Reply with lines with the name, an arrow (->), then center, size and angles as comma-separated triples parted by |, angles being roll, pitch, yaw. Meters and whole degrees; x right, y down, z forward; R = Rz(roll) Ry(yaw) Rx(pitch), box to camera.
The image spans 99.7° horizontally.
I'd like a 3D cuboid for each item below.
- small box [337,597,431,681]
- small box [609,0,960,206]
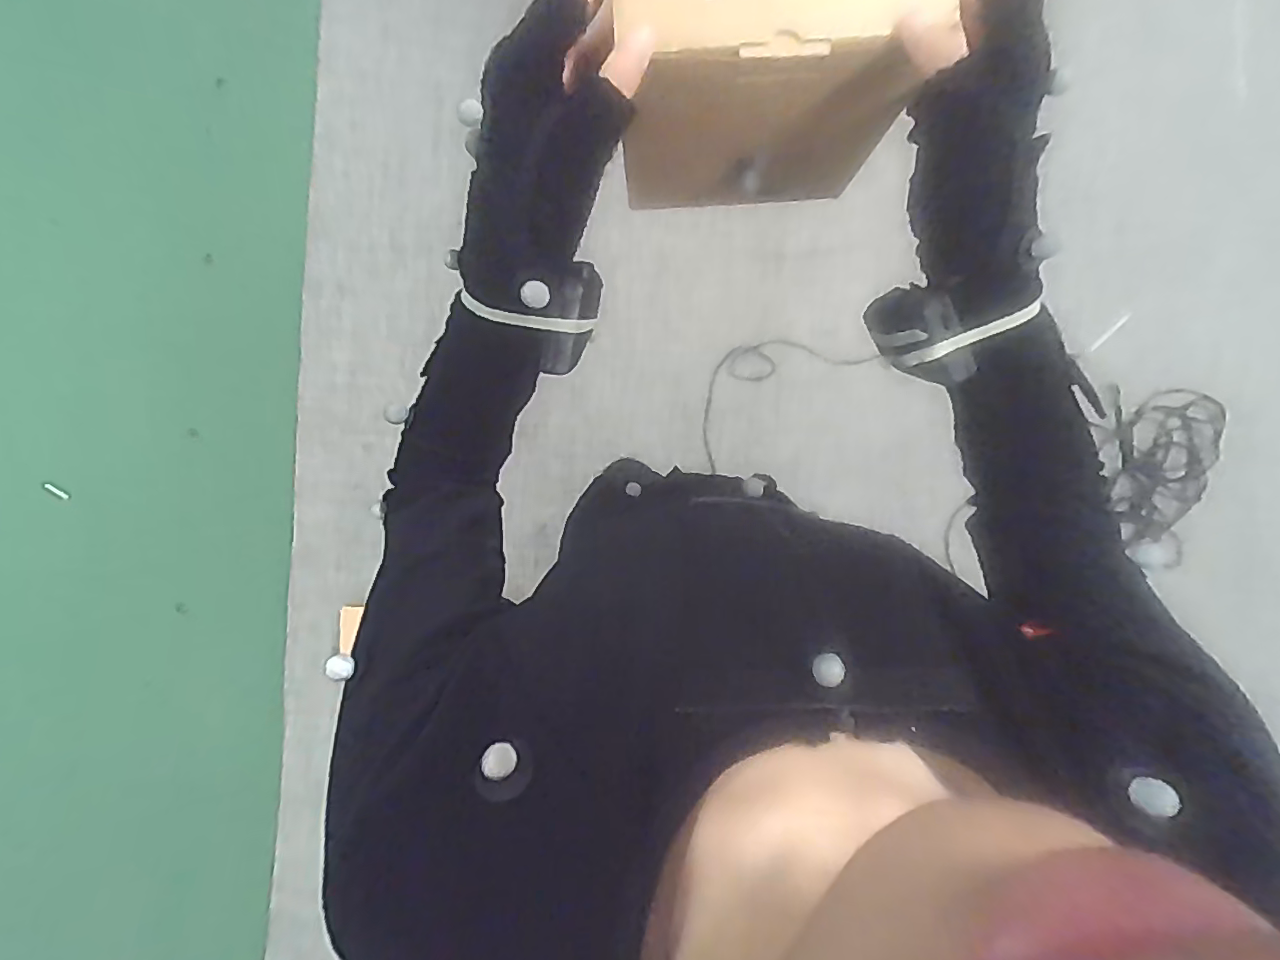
small box -> -0.663, 0.409, 1.415 | 0.168, 0.176, 0.179 | 2, 90, 2
small box -> 0.067, -0.297, 0.331 | 0.168, 0.176, 0.179 | -2, 92, 2
